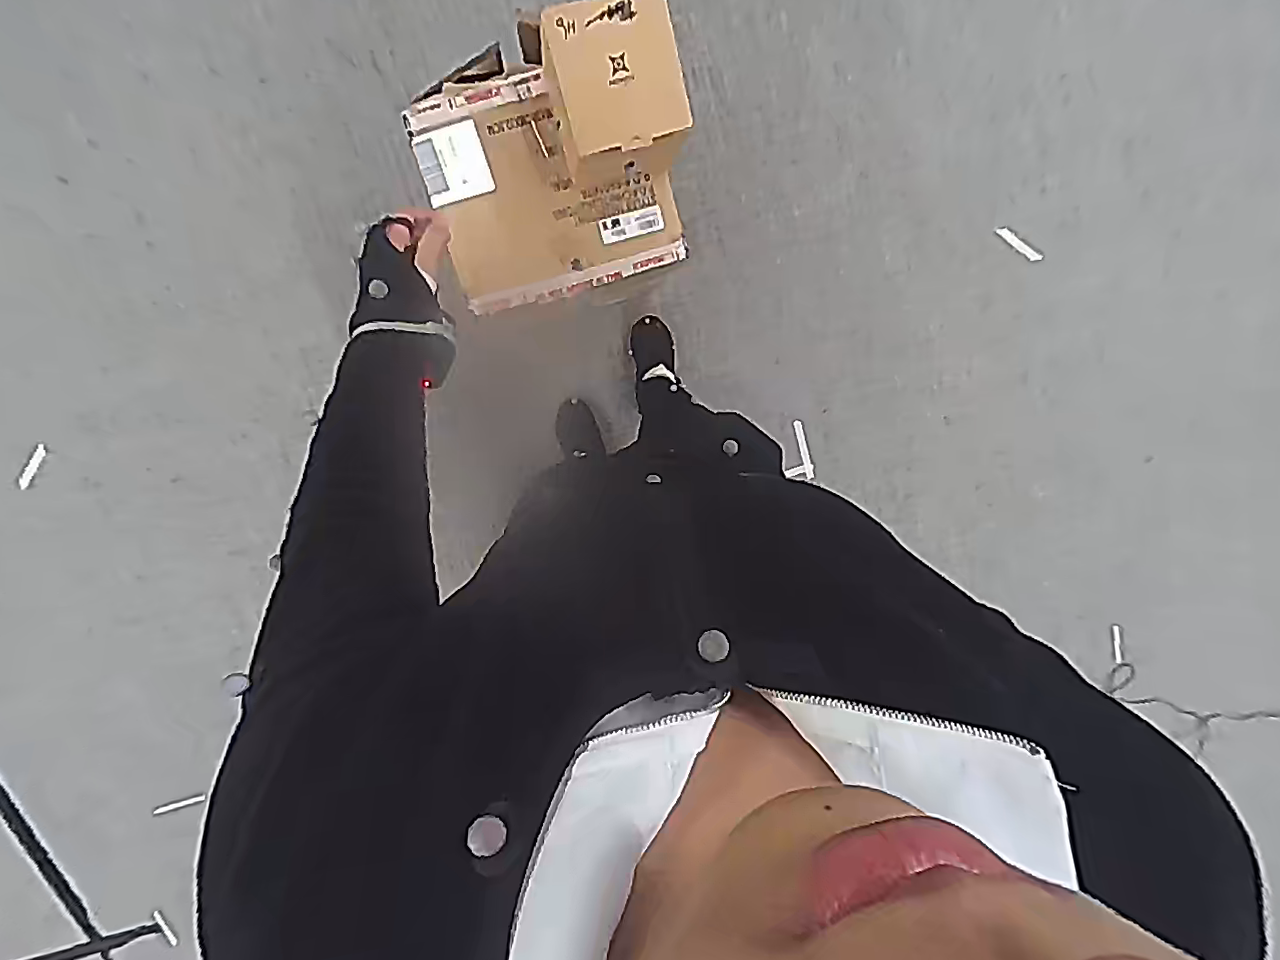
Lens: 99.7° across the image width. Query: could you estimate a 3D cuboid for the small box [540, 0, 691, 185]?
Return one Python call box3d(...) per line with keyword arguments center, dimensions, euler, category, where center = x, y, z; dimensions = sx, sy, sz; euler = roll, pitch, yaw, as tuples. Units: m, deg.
box3d(center=(-0.038, -0.551, 0.784), dimensions=(0.168, 0.176, 0.179), euler=(-17, 106, -4), category="small box")
